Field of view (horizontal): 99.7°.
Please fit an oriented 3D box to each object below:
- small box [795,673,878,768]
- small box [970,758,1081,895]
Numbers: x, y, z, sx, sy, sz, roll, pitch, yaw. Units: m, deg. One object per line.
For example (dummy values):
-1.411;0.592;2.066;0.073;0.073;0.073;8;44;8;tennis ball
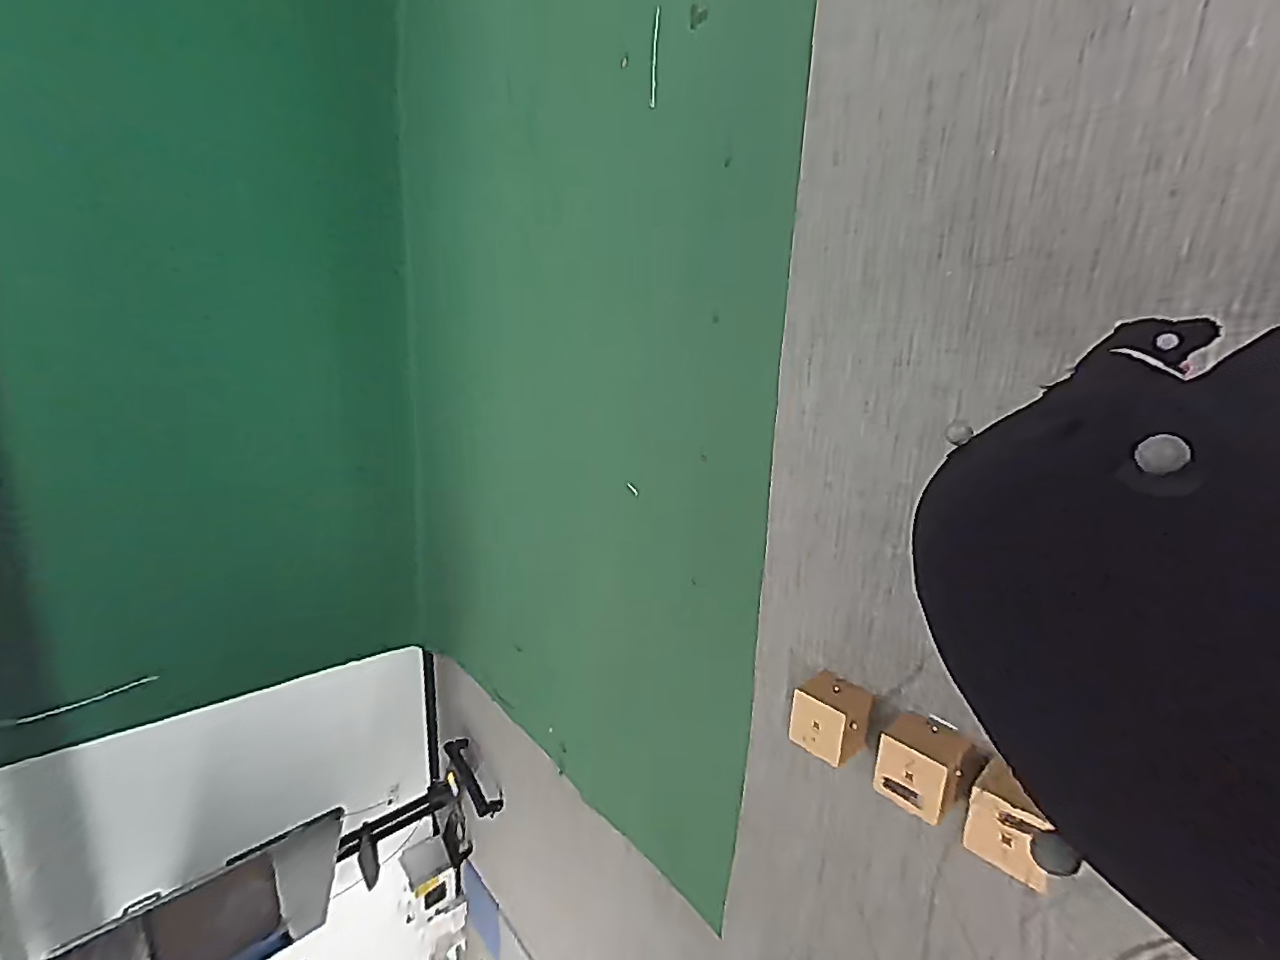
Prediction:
0.589;0.707;1.618;0.168;0.176;0.179;17;108;48;small box
0.903;0.796;1.265;0.168;0.176;0.179;14;108;47;small box
